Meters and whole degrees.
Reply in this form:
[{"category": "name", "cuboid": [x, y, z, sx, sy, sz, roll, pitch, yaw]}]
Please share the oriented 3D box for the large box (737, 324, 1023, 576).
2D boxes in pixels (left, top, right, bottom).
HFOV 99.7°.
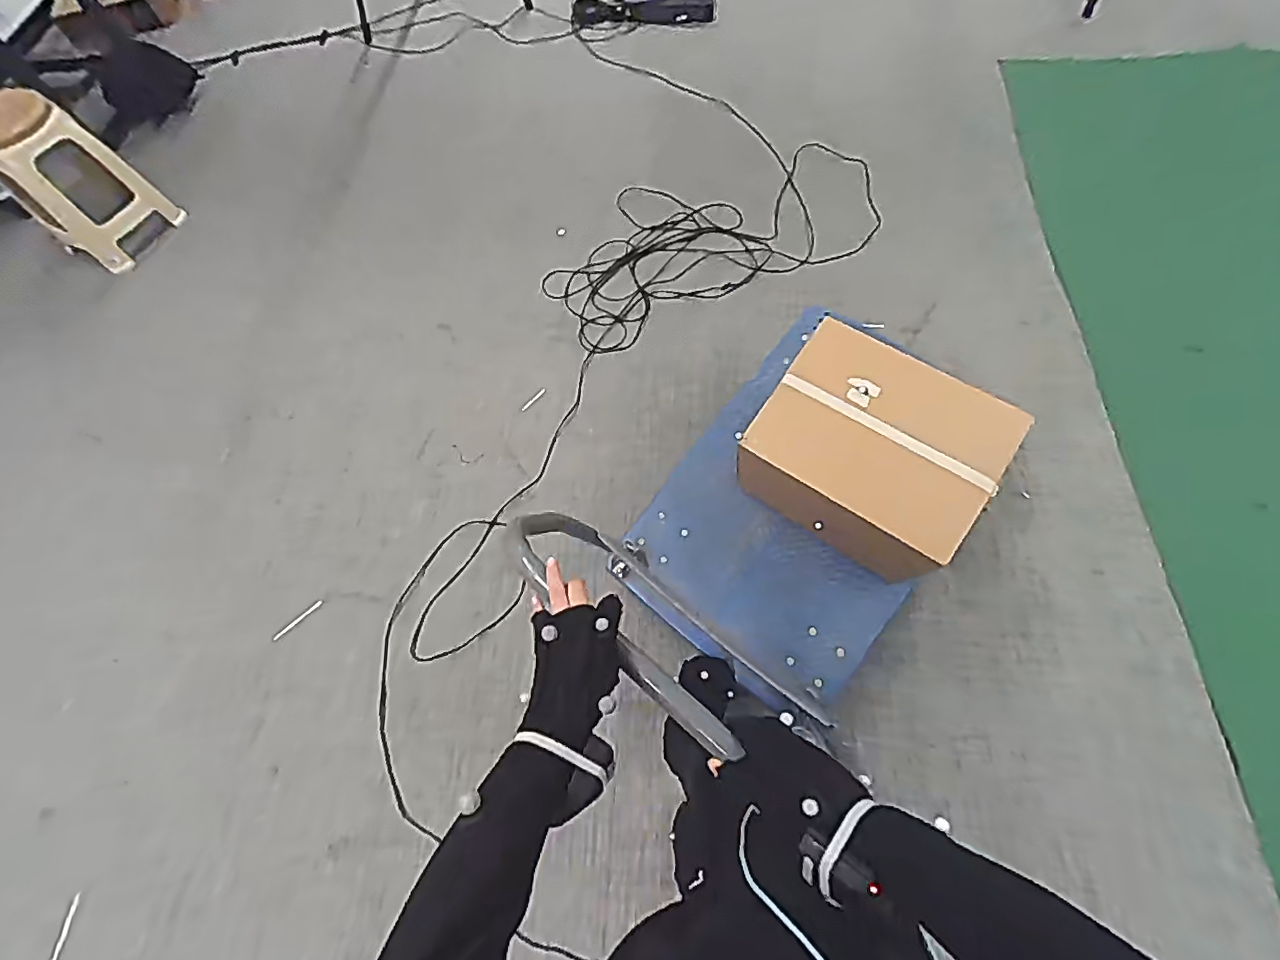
[{"category": "large box", "cuboid": [0.457, -0.045, 1.123, 0.408, 0.320, 0.320, 33, 82, 18]}]
